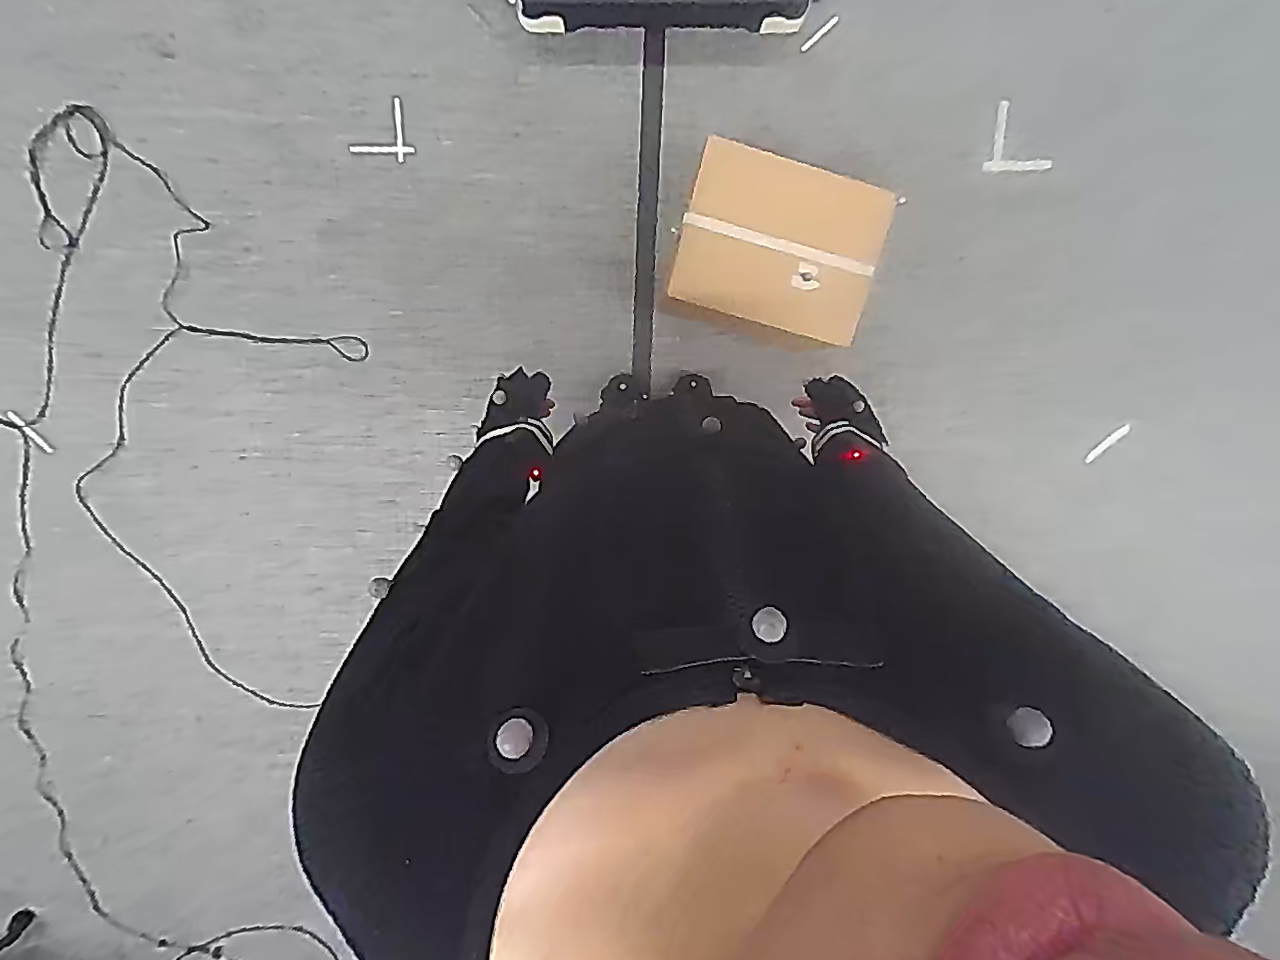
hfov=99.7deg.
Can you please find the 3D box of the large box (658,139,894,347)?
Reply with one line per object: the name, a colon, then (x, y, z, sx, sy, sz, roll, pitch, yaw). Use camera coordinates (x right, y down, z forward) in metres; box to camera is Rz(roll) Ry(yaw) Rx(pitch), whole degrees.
large box: (0.279, -0.511, 1.247, 0.408, 0.320, 0.320, 14, 102, -6)
